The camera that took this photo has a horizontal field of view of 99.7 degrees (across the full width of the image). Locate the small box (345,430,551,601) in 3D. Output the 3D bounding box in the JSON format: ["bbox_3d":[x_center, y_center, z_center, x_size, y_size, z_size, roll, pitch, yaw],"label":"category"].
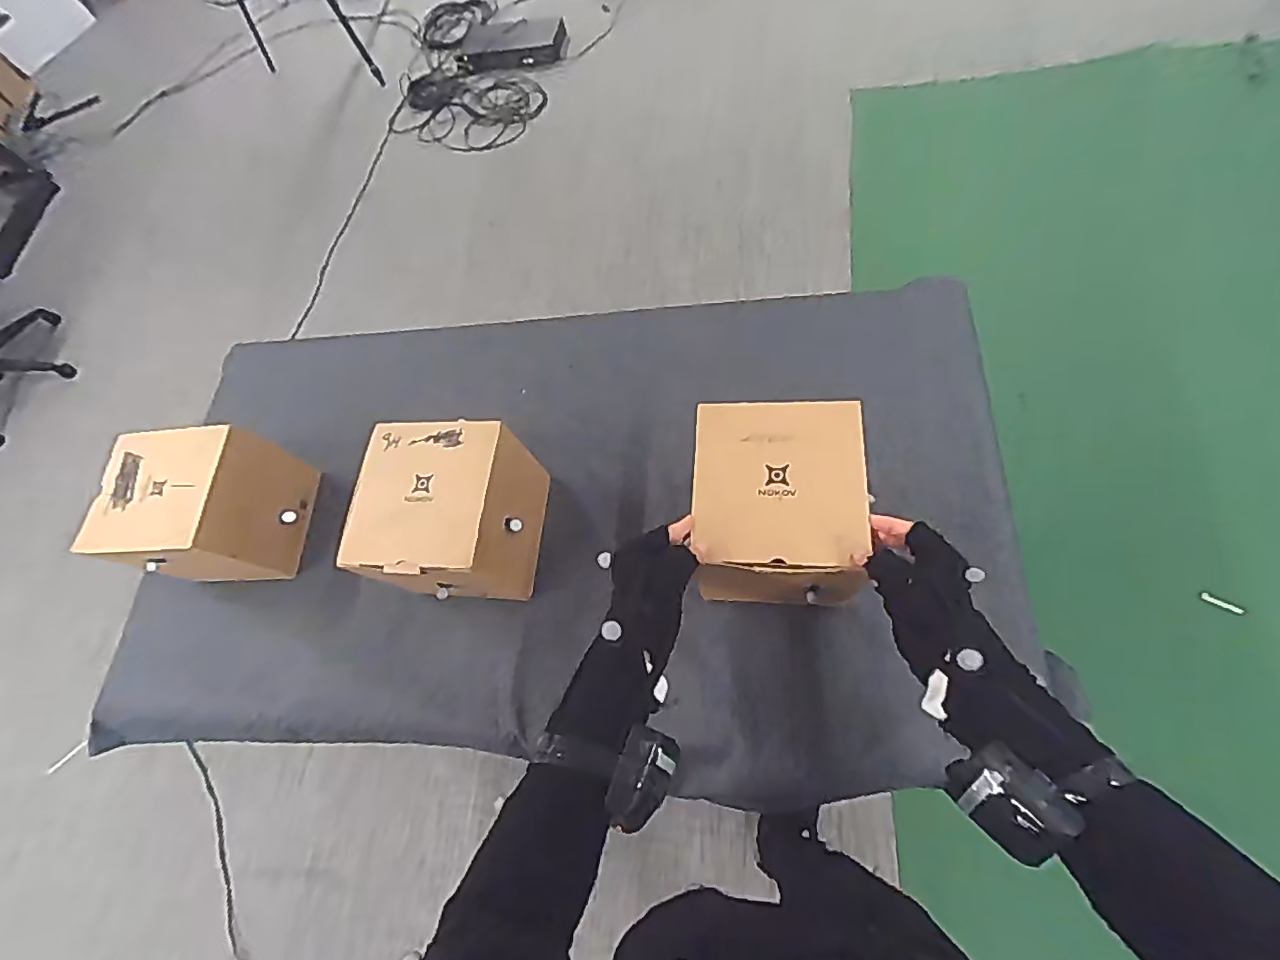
[{"bbox_3d":[-0.223,0.051,0.678,0.168,0.176,0.179,0,68,12],"label":"small box"}]

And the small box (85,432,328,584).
[{"bbox_3d":[-0.585,0.048,0.754,0.179,0.176,0.168,-3,67,9],"label":"small box"}]

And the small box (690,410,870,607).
[{"bbox_3d":[0.149,0.040,0.604,0.168,0.176,0.179,0,66,11],"label":"small box"}]
